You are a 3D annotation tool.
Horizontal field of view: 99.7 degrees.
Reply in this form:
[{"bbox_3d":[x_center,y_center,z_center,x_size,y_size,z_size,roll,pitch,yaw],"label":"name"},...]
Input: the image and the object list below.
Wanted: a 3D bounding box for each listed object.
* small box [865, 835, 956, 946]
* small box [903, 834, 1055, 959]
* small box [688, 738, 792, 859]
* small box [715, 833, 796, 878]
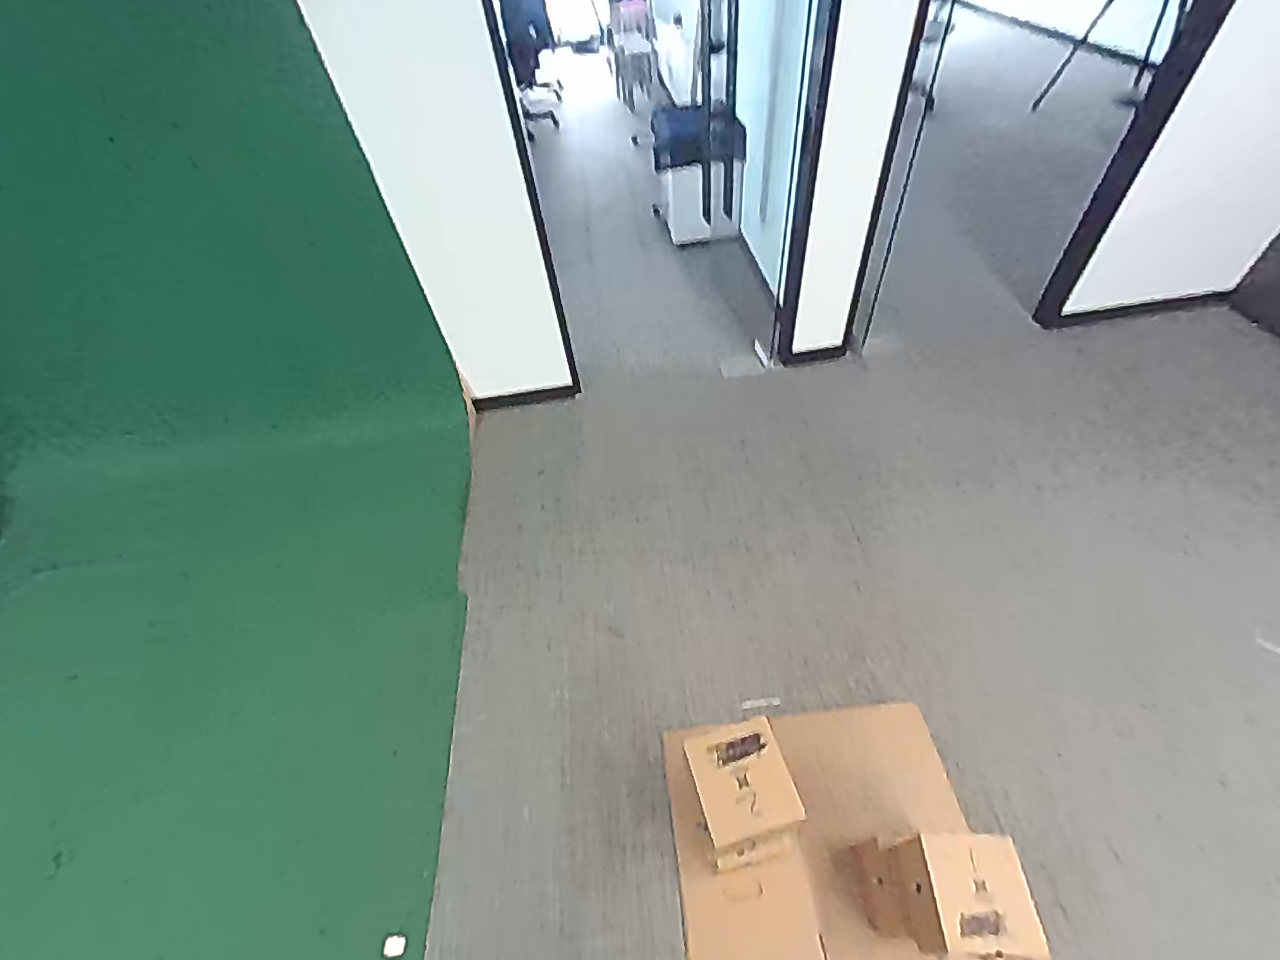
[{"bbox_3d":[0.593,0.866,1.138,0.168,0.176,0.179,-4,48,4],"label":"small box"},{"bbox_3d":[0.608,0.775,0.996,0.168,0.176,0.179,0,48,7],"label":"small box"},{"bbox_3d":[0.203,0.674,1.137,0.168,0.176,0.179,-12,48,-4],"label":"small box"},{"bbox_3d":[0.240,0.790,1.251,0.168,0.176,0.179,-13,49,-4],"label":"small box"}]
